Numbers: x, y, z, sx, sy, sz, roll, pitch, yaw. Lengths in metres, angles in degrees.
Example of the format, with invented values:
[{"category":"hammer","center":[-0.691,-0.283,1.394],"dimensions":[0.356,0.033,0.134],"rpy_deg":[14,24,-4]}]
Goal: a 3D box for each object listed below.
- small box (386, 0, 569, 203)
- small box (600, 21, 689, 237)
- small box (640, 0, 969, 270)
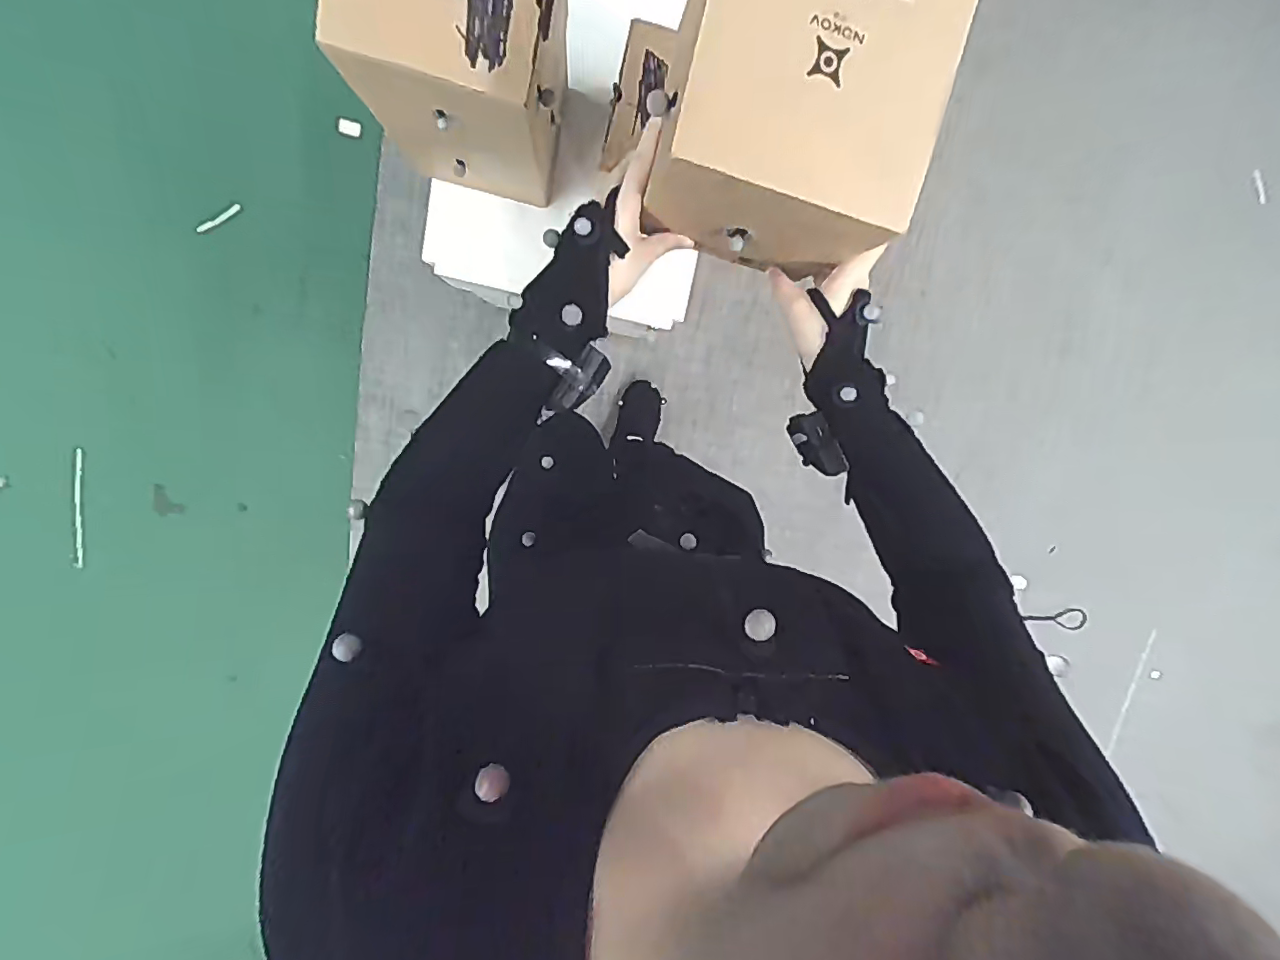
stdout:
[{"category":"small box","center":[-0.191,-0.473,0.680],"dimensions":[0.179,0.176,0.168],"rpy_deg":[11,101,-9]},{"category":"small box","center":[0.049,-0.438,0.712],"dimensions":[0.179,0.176,0.168],"rpy_deg":[13,100,-8]},{"category":"small box","center":[0.104,-0.281,0.415],"dimensions":[0.168,0.176,0.179],"rpy_deg":[13,97,-12]}]
